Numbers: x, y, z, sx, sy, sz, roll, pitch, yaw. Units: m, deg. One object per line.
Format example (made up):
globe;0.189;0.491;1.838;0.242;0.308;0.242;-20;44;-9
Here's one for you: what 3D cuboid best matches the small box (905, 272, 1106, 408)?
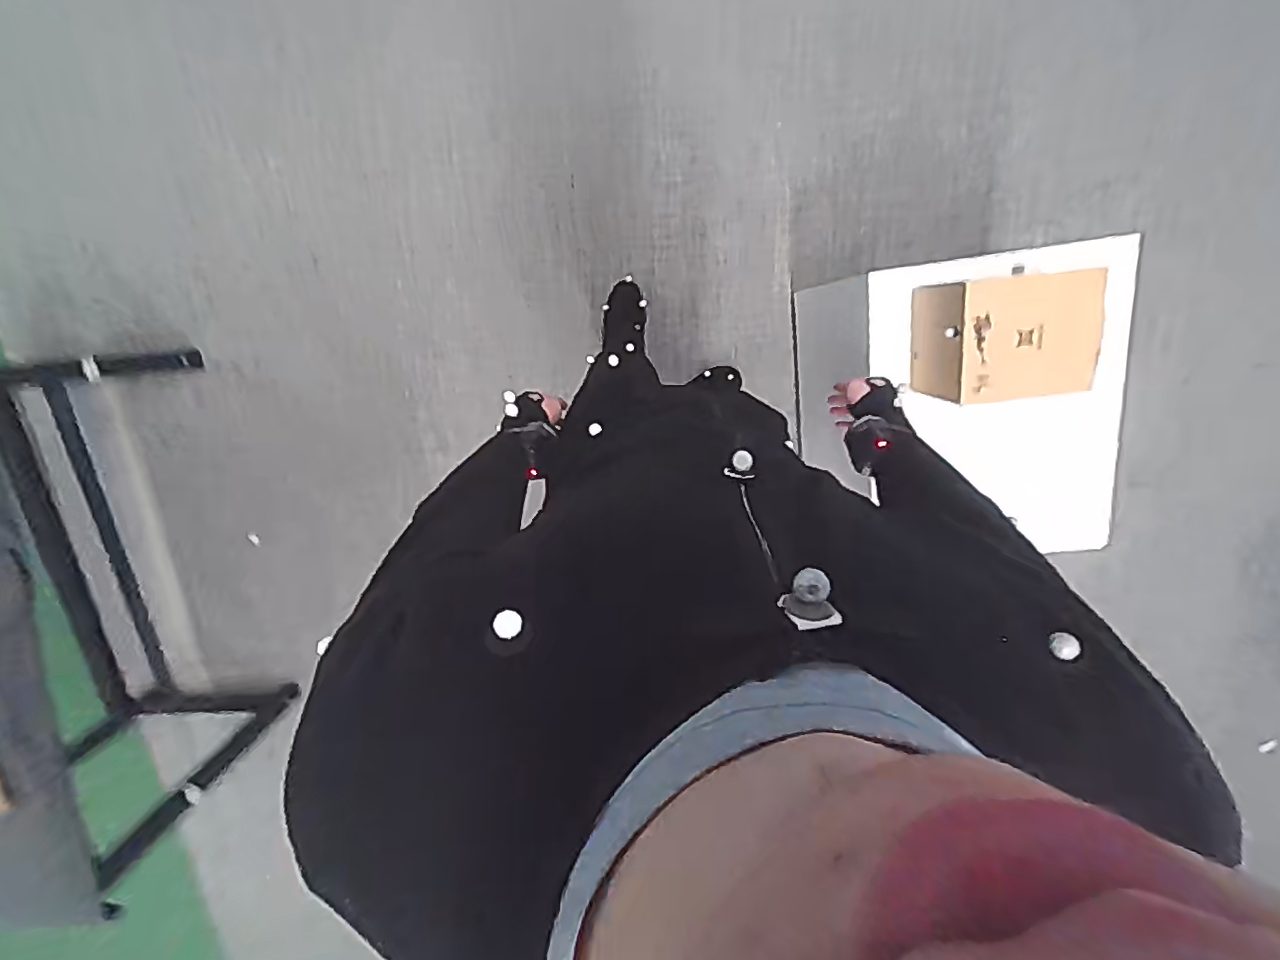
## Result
small box;0.513;-0.206;0.787;0.179;0.176;0.168;-5;107;4
